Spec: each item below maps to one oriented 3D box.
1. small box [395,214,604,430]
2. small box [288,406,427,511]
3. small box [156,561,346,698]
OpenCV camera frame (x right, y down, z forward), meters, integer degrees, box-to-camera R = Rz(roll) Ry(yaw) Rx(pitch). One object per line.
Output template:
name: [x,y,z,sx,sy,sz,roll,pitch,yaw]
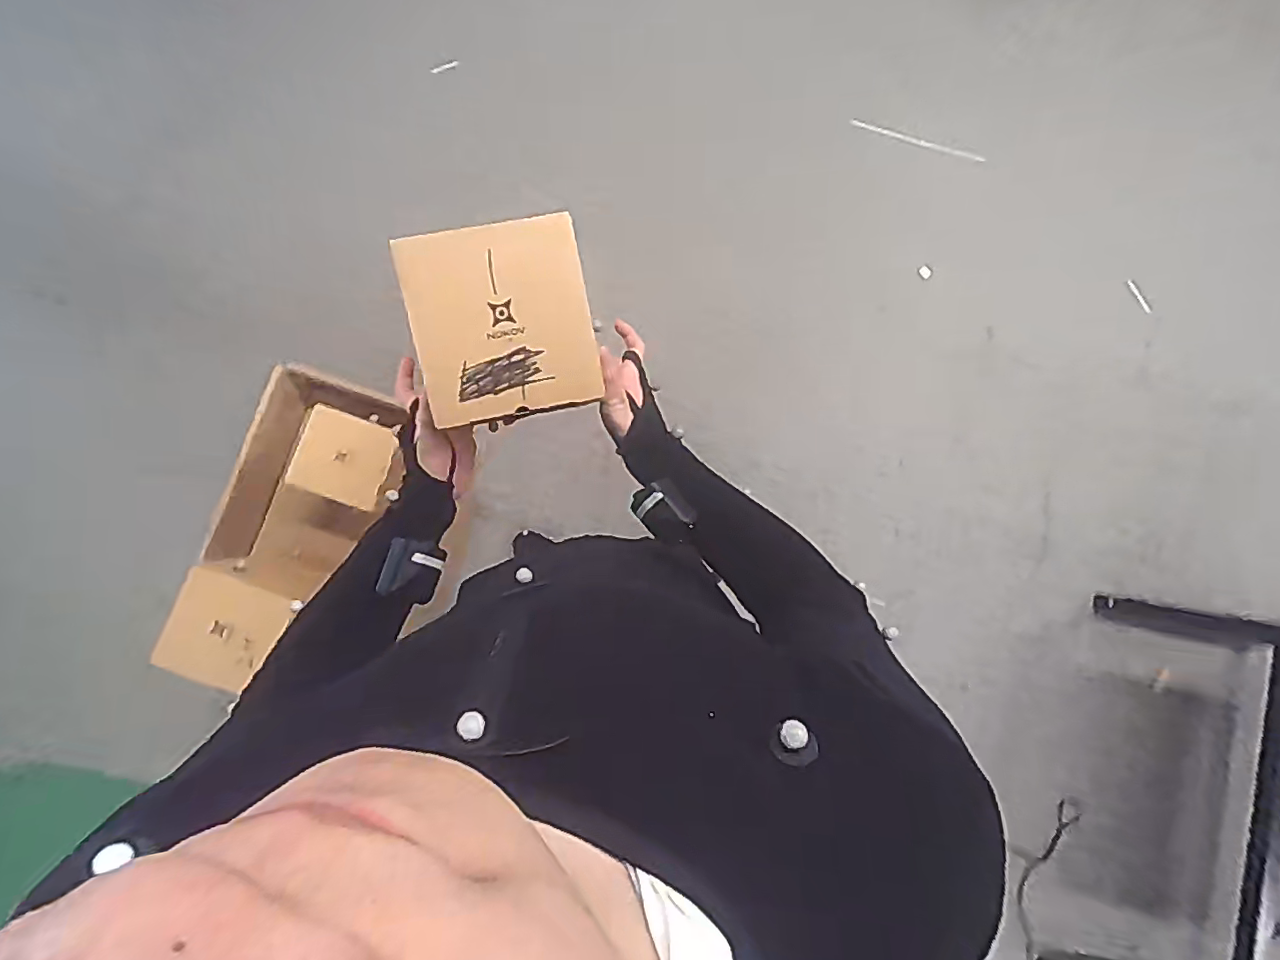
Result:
small box: [-0.134,-0.158,0.581,0.168,0.176,0.179,-11,99,-5]
small box: [-0.578,-0.035,1.129,0.179,0.176,0.168,19,85,-3]
small box: [-0.659,0.247,0.939,0.179,0.176,0.168,21,86,-2]
